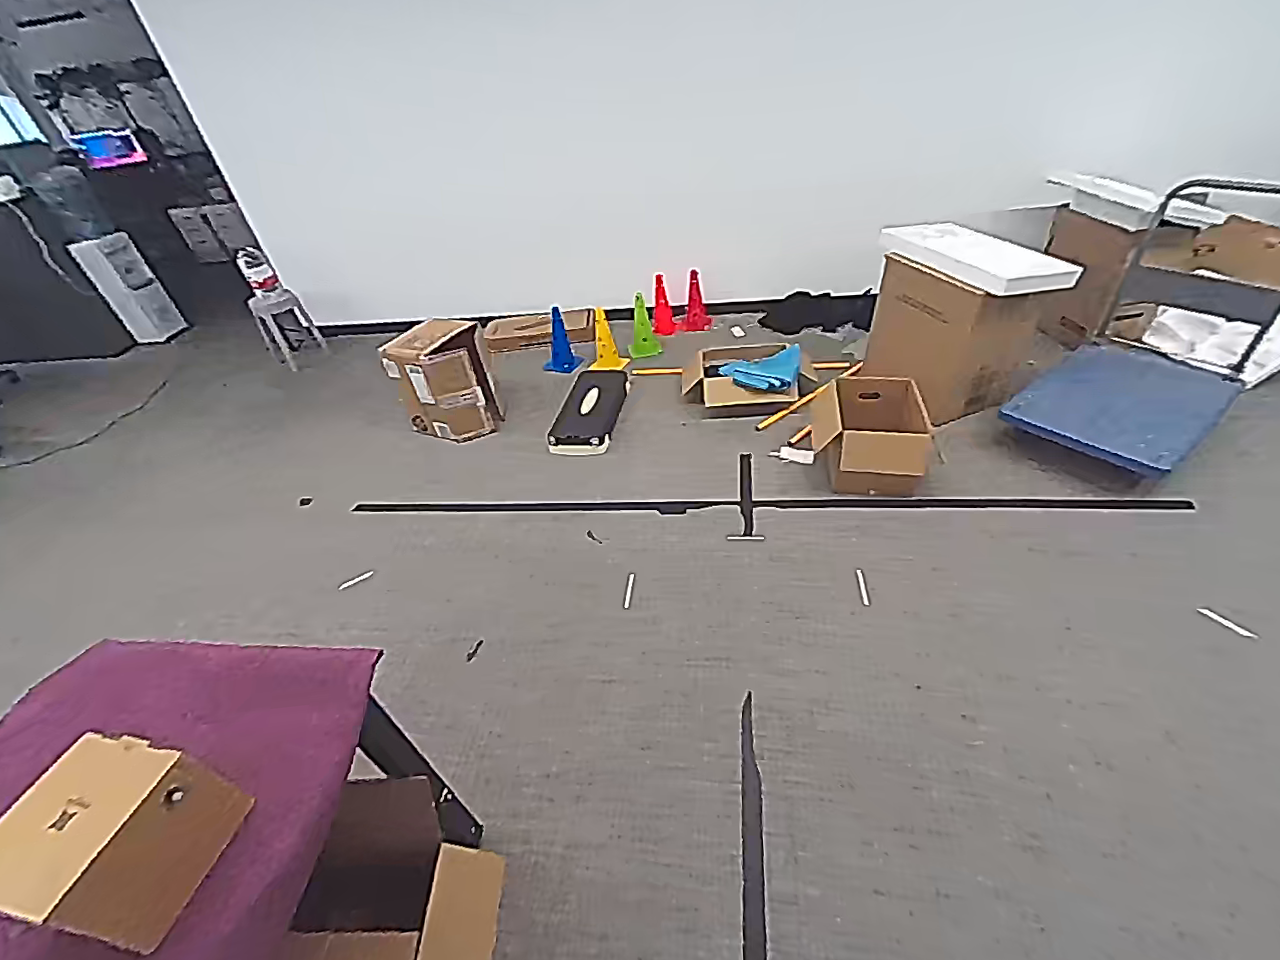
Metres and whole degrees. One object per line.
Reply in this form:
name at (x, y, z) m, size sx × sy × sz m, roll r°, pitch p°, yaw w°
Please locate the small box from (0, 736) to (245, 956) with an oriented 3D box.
small box at (-0.654, 0.454, 0.674) m, size 0.168 × 0.176 × 0.179 m, roll 3°, pitch 40°, yaw 13°
